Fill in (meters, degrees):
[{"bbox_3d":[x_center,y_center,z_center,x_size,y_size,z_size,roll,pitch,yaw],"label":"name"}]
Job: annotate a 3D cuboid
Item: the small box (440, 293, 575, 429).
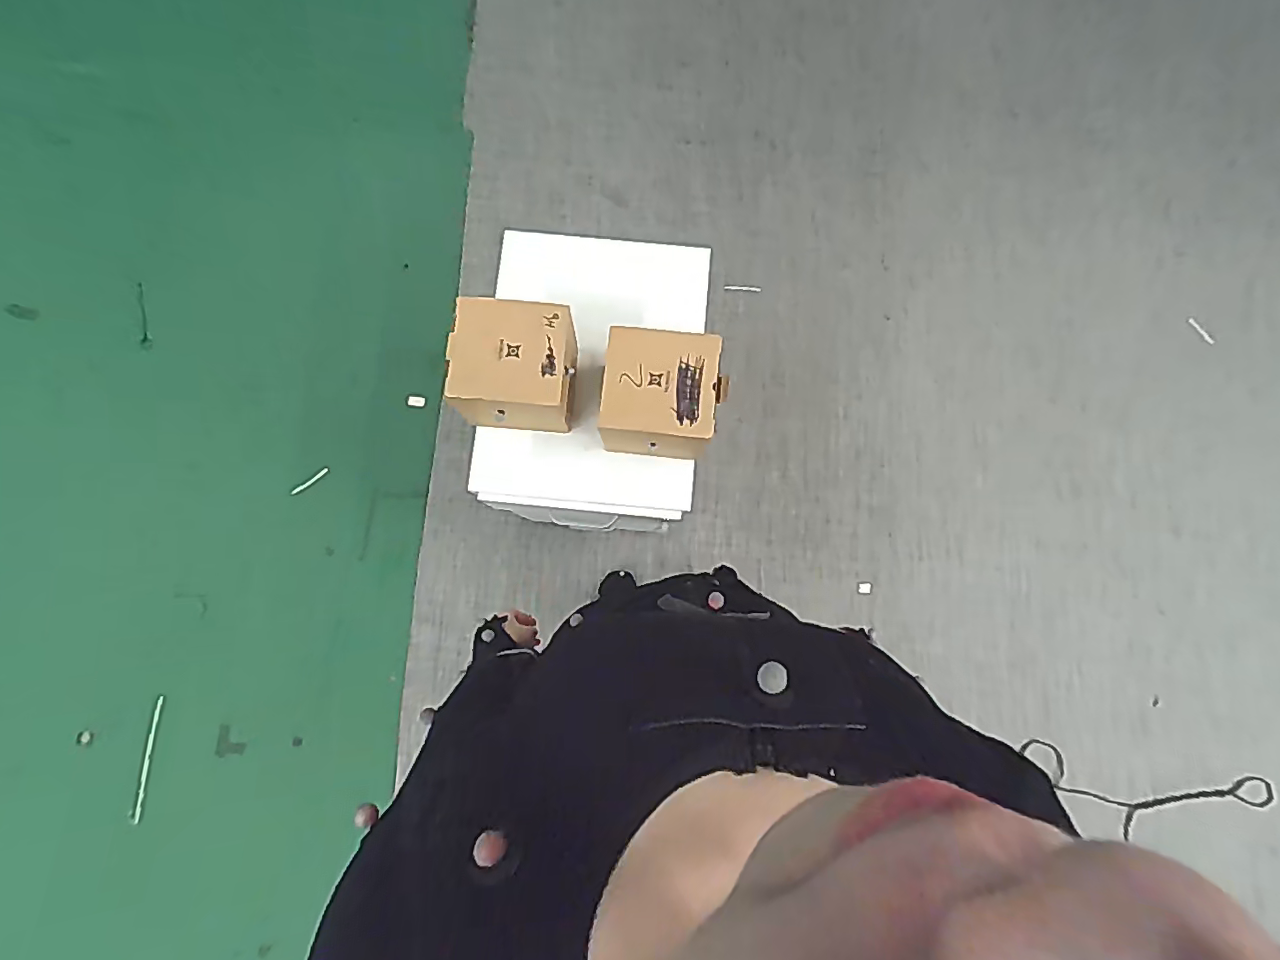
[{"bbox_3d":[-0.207,-0.187,0.894,0.179,0.176,0.168,4,80,-2],"label":"small box"}]
